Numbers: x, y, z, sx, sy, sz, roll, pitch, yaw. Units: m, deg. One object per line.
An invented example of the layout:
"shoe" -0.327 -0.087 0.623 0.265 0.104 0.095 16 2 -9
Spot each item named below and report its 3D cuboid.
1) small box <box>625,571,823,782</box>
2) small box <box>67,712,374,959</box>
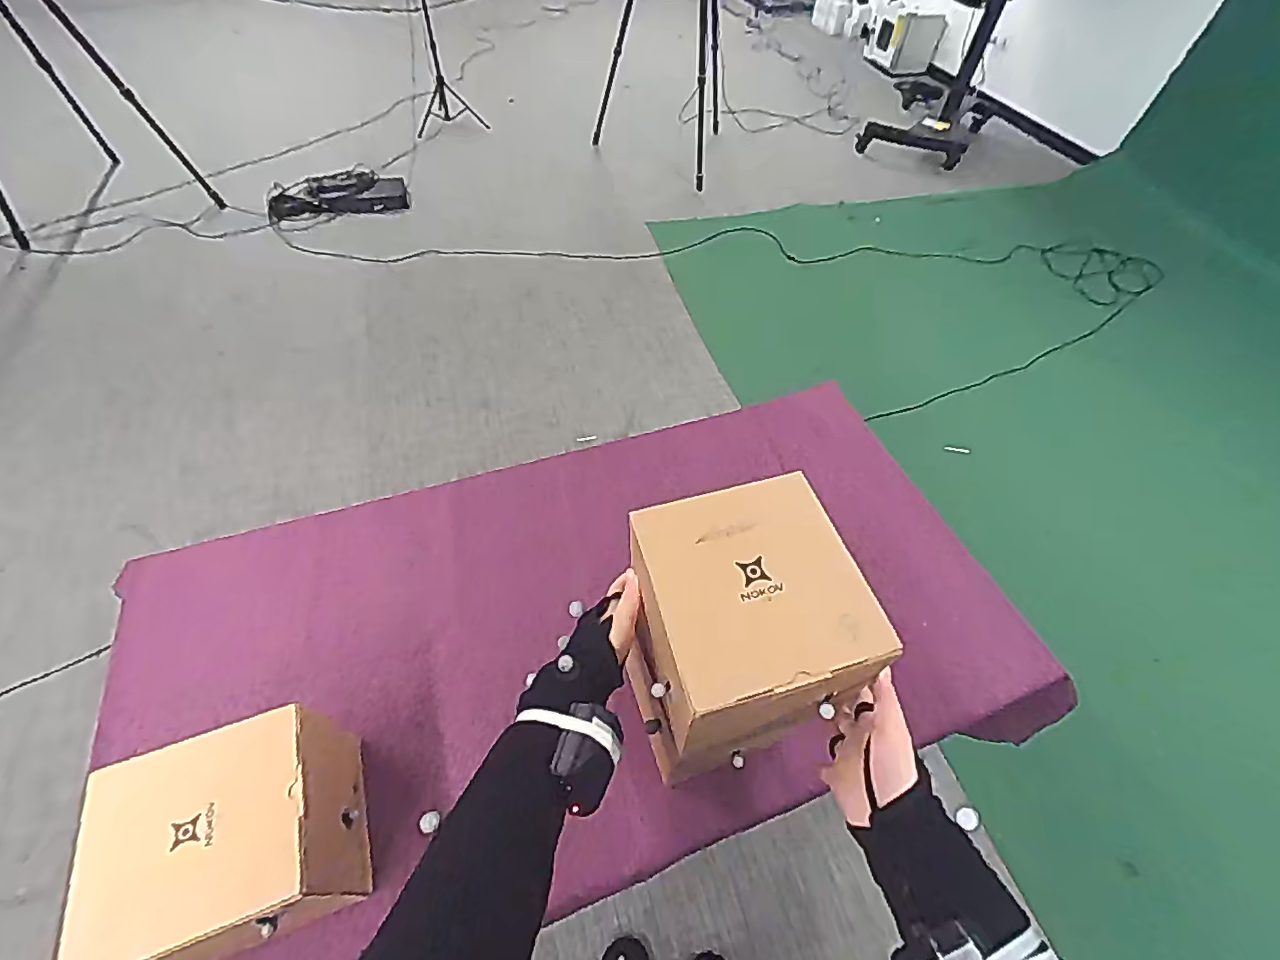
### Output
"small box" 0.085 0.241 0.648 0.168 0.176 0.179 -14 54 -13
"small box" -0.390 0.364 0.536 0.179 0.176 0.168 -16 54 -16
